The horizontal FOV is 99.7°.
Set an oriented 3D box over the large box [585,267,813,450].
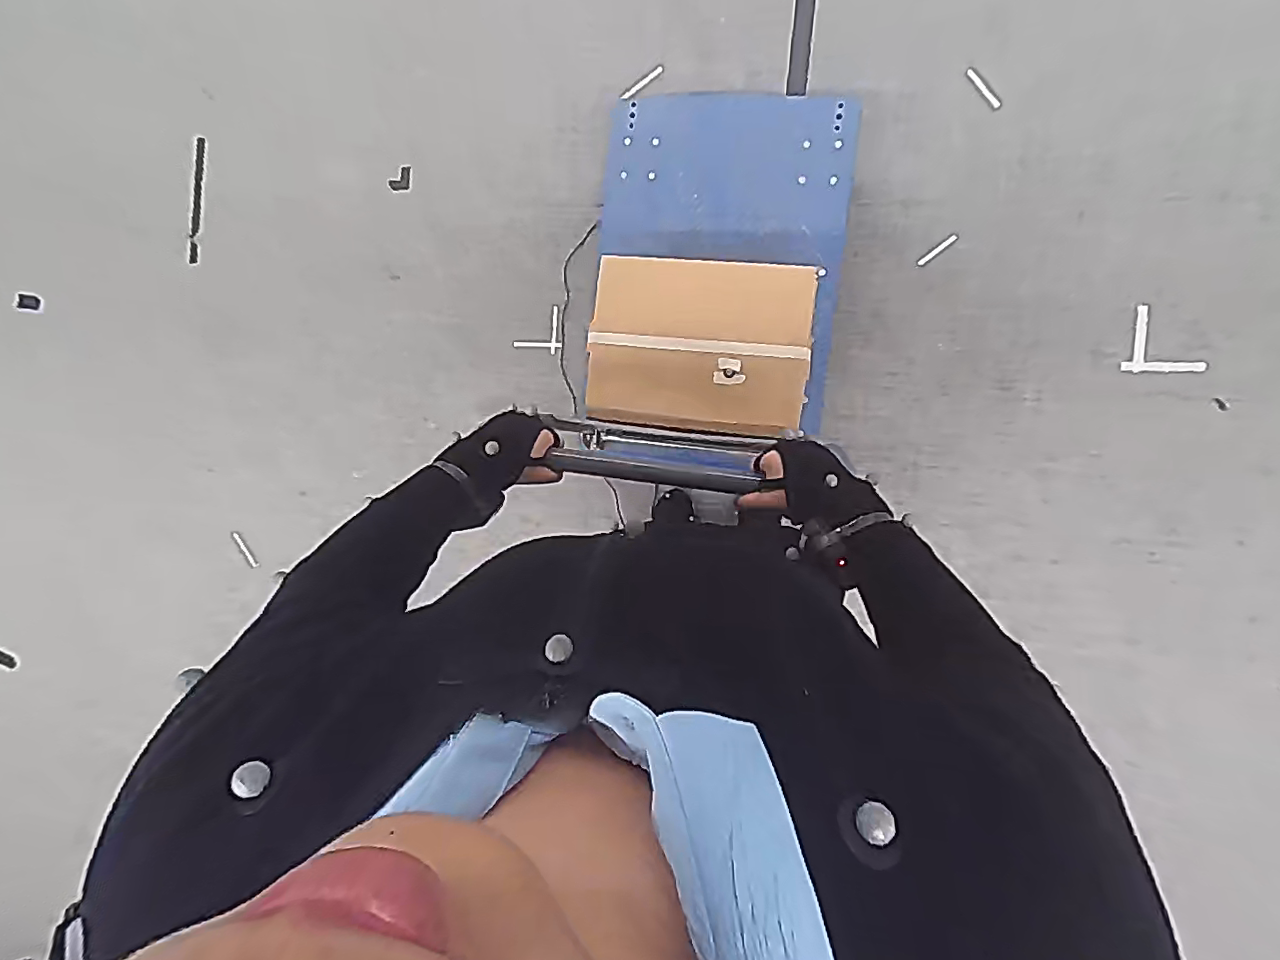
[{"bbox_3d":[0.123,-0.236,1.149,0.408,0.320,0.320,7,93,9],"label":"large box"}]
